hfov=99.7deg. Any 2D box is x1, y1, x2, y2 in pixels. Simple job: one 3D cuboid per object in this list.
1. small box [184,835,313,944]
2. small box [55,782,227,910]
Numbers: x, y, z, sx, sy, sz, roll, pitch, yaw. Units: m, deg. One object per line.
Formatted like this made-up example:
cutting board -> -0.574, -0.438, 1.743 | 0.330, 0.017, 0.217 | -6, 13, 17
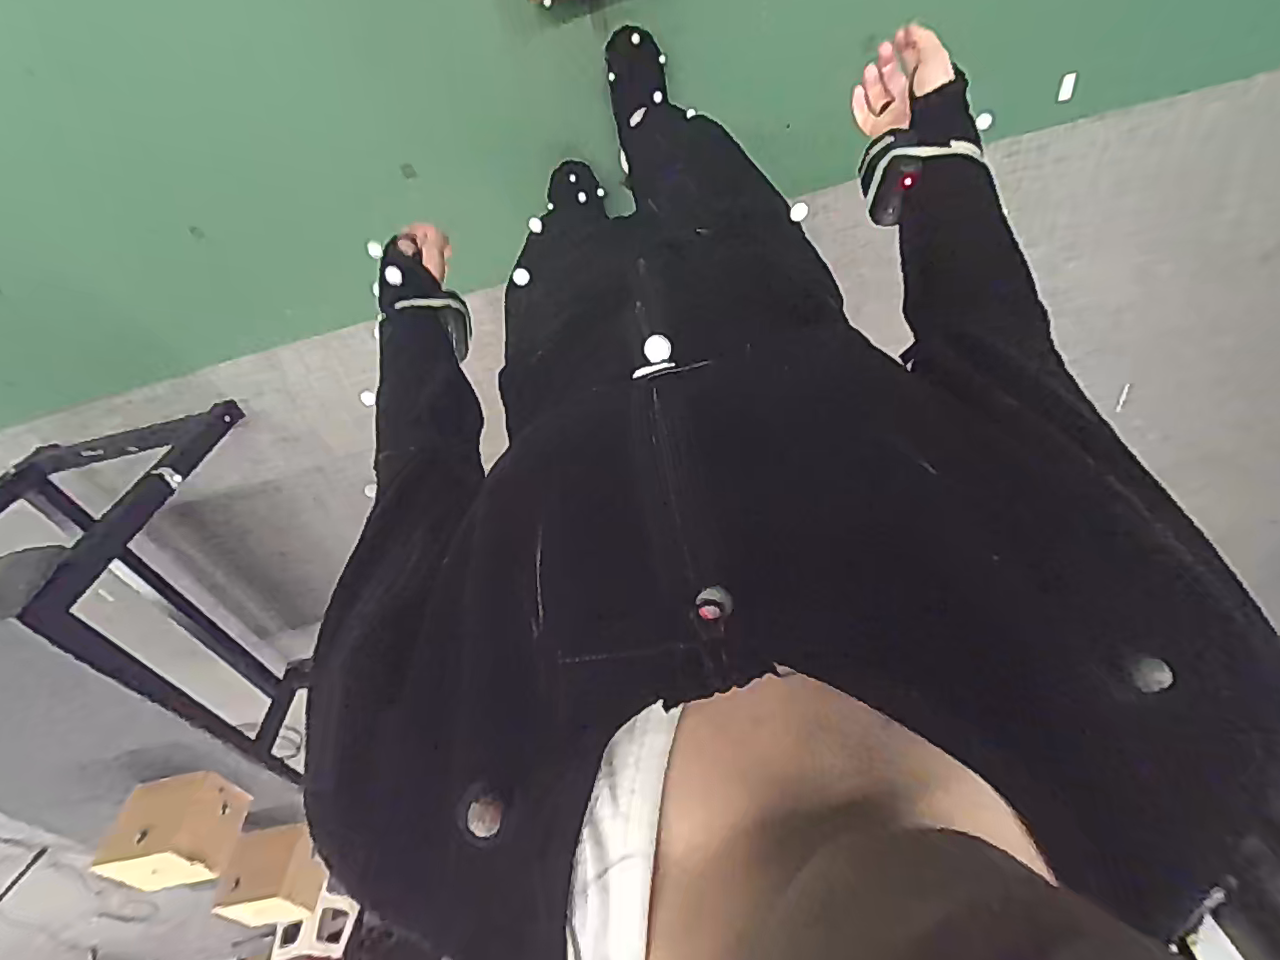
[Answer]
small box -> -0.972, 1.030, 1.363 | 0.179, 0.176, 0.168 | -11, 129, 0
small box -> -1.049, 0.780, 1.158 | 0.179, 0.176, 0.168 | -13, 129, 0
